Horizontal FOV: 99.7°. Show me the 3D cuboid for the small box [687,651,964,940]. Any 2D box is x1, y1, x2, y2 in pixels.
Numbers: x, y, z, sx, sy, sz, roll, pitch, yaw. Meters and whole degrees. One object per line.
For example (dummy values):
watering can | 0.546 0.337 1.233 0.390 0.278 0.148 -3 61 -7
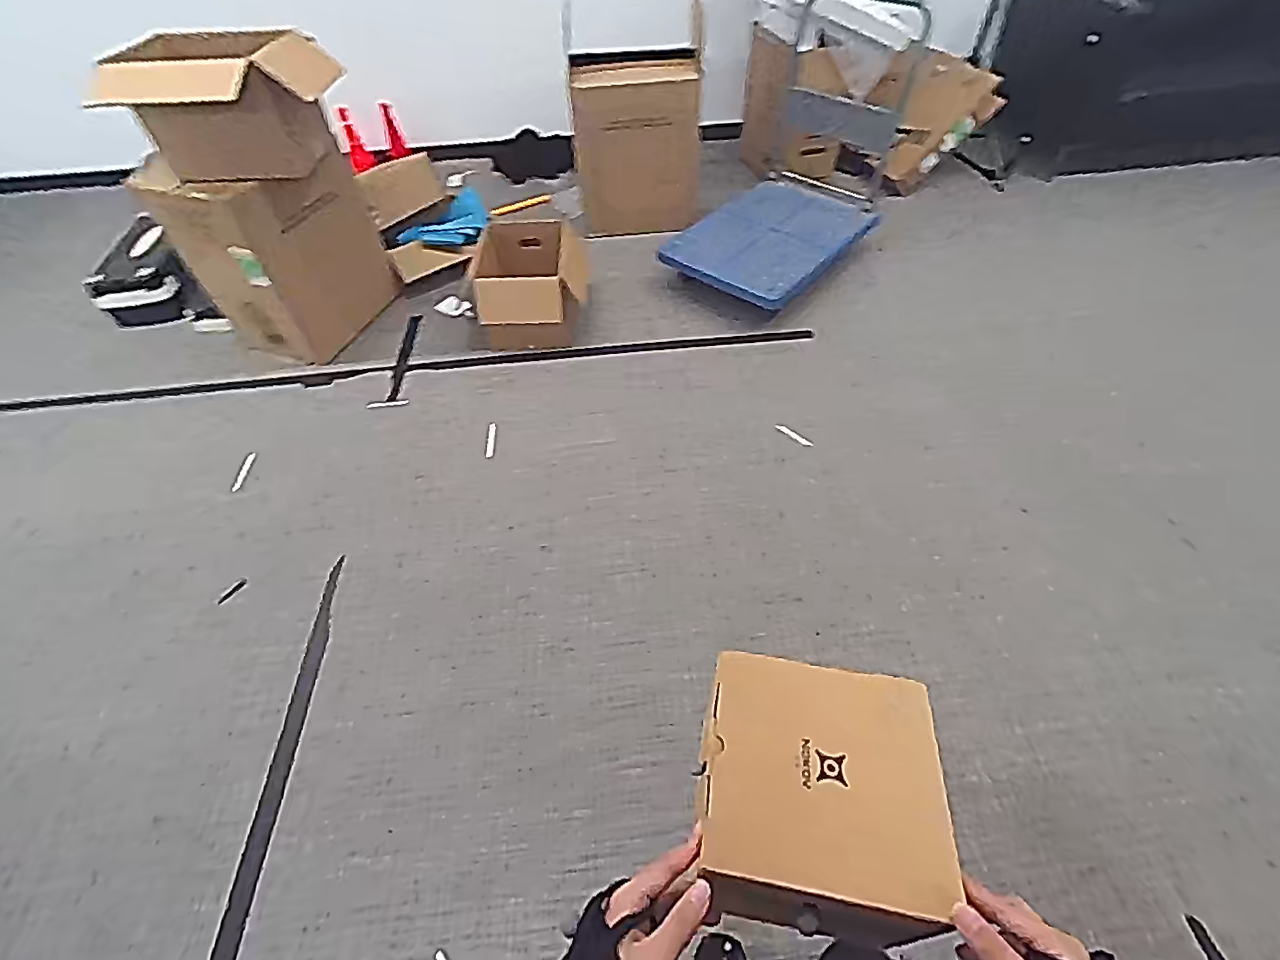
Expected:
small box | 0.138 0.273 0.466 0.179 0.176 0.168 6 46 8
